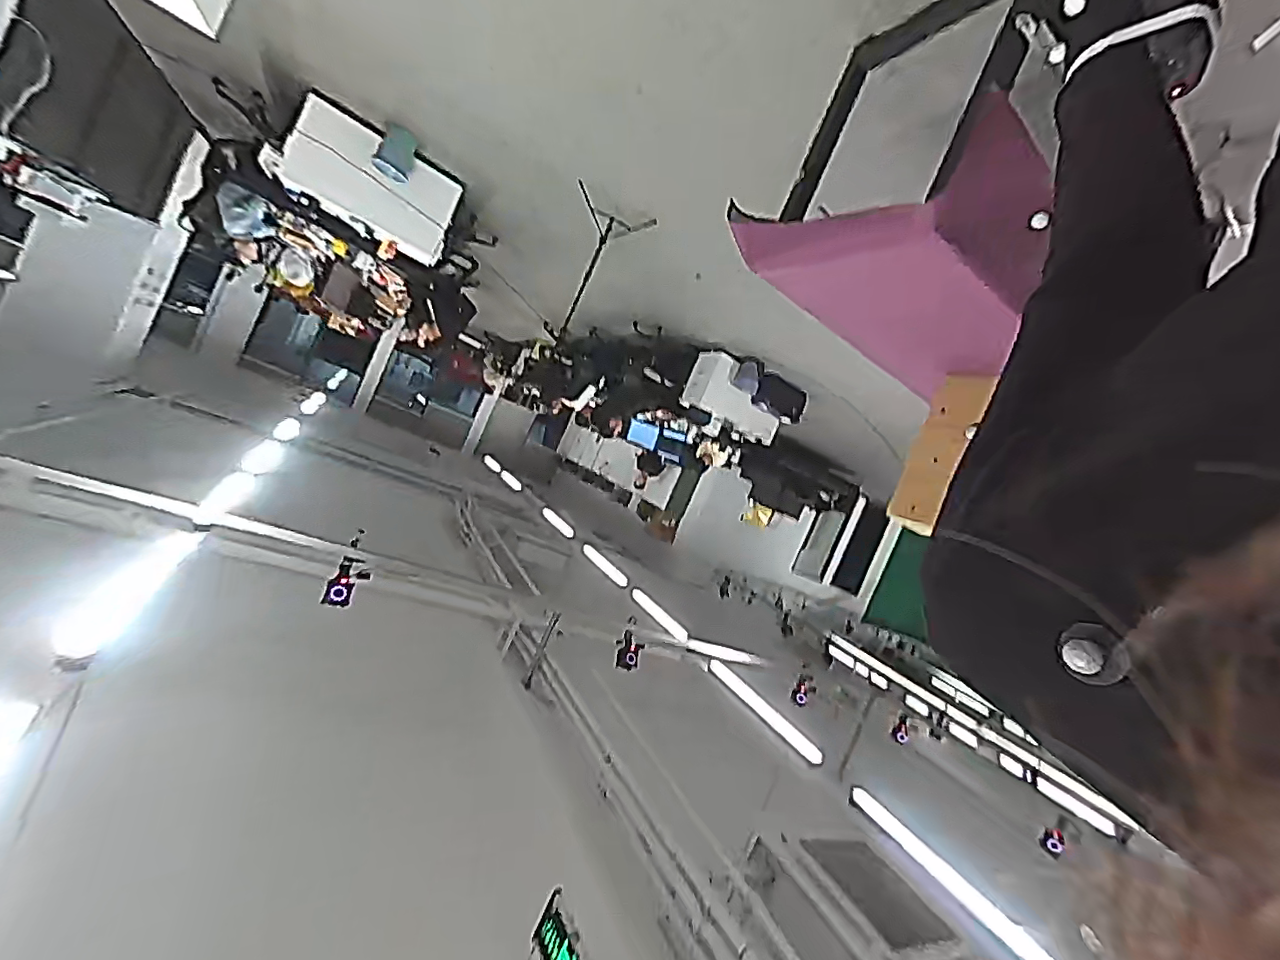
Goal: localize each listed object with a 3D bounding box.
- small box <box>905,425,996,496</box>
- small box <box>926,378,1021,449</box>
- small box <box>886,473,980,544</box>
[{"bbox_3d":[1.007,-0.069,1.743,0.168,0.176,0.179,24,-178,-25],"label":"small box"},{"bbox_3d":[1.072,-0.219,1.739,0.168,0.176,0.179,23,-179,-29],"label":"small box"},{"bbox_3d":[0.952,0.085,1.756,0.168,0.176,0.179,24,-179,-21],"label":"small box"}]
